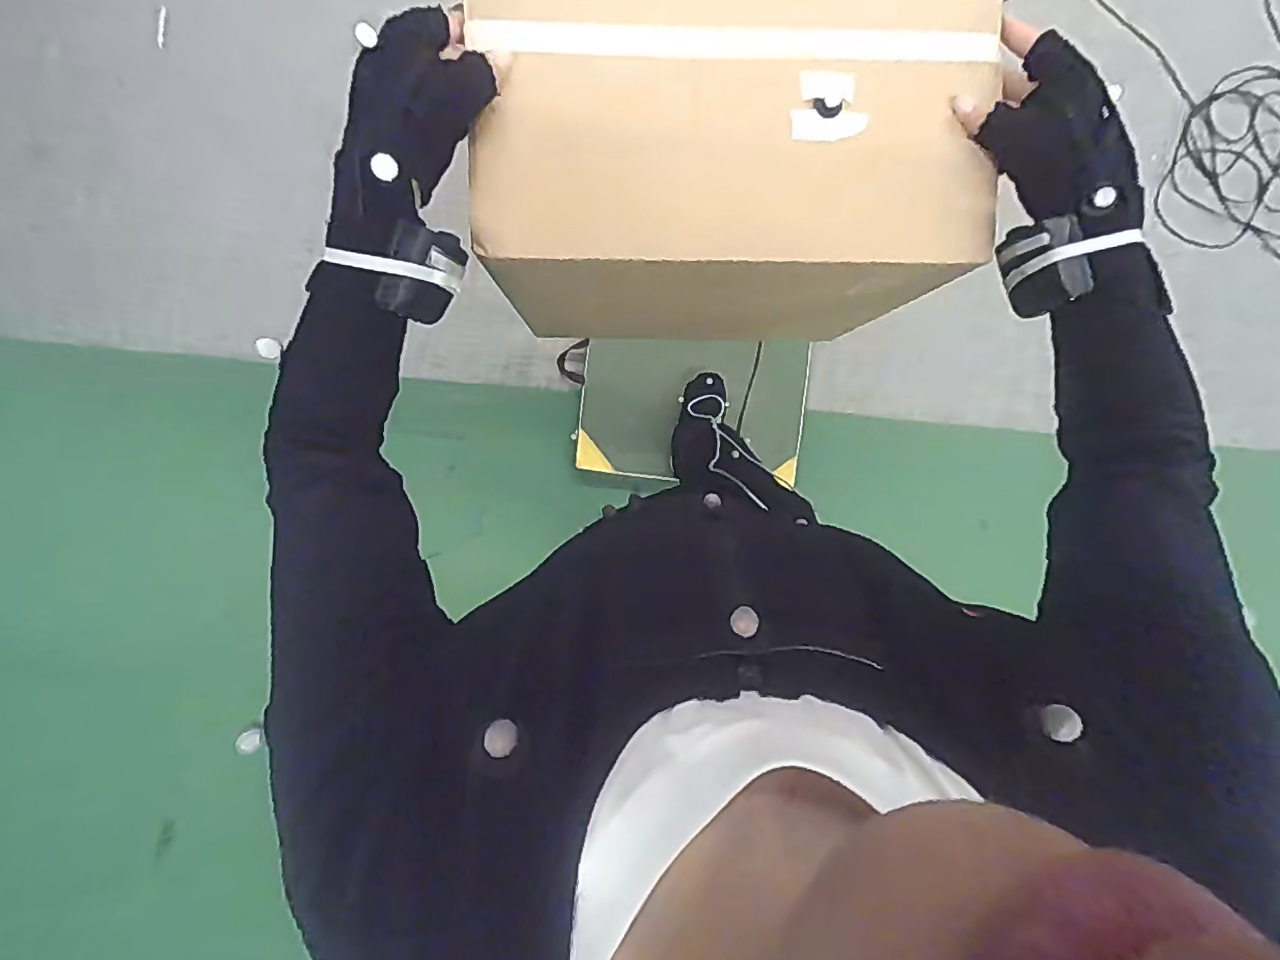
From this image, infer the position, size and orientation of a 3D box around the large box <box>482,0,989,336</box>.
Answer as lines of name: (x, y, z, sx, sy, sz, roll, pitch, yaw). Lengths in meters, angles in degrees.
large box: (0.068, -0.342, 0.569, 0.408, 0.320, 0.320, -1, 94, -4)
